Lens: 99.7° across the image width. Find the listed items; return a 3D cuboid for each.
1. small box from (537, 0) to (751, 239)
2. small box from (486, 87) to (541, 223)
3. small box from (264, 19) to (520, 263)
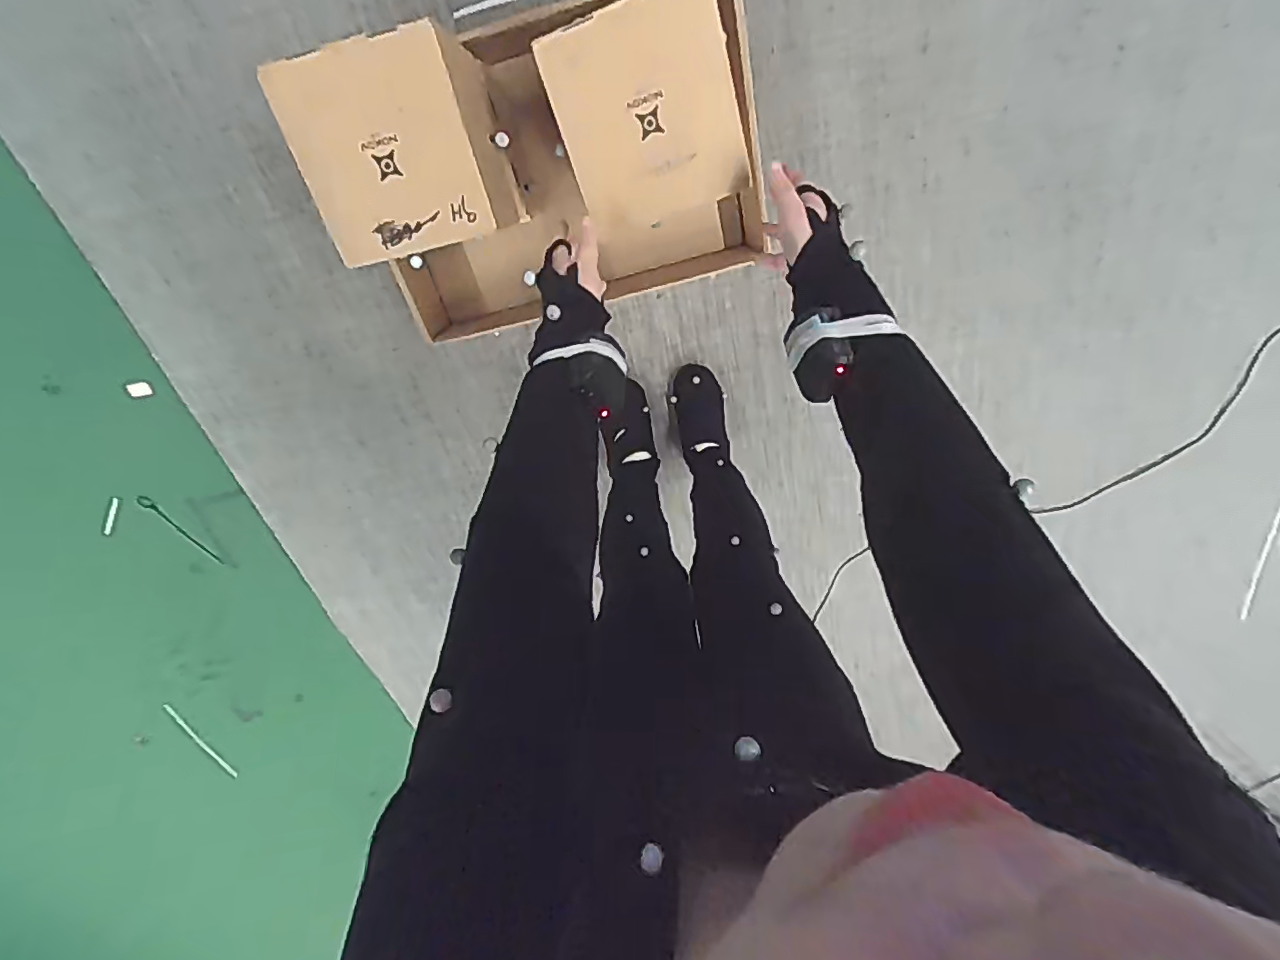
[{"bbox_3d":[0.006,-0.380,0.574,0.168,0.176,0.179,-16,120,8],"label":"small box"},{"bbox_3d":[-0.265,-0.505,0.871,0.168,0.176,0.179,-10,119,3],"label":"small box"},{"bbox_3d":[-0.242,-0.348,0.582,0.168,0.176,0.179,-11,119,4],"label":"small box"}]
